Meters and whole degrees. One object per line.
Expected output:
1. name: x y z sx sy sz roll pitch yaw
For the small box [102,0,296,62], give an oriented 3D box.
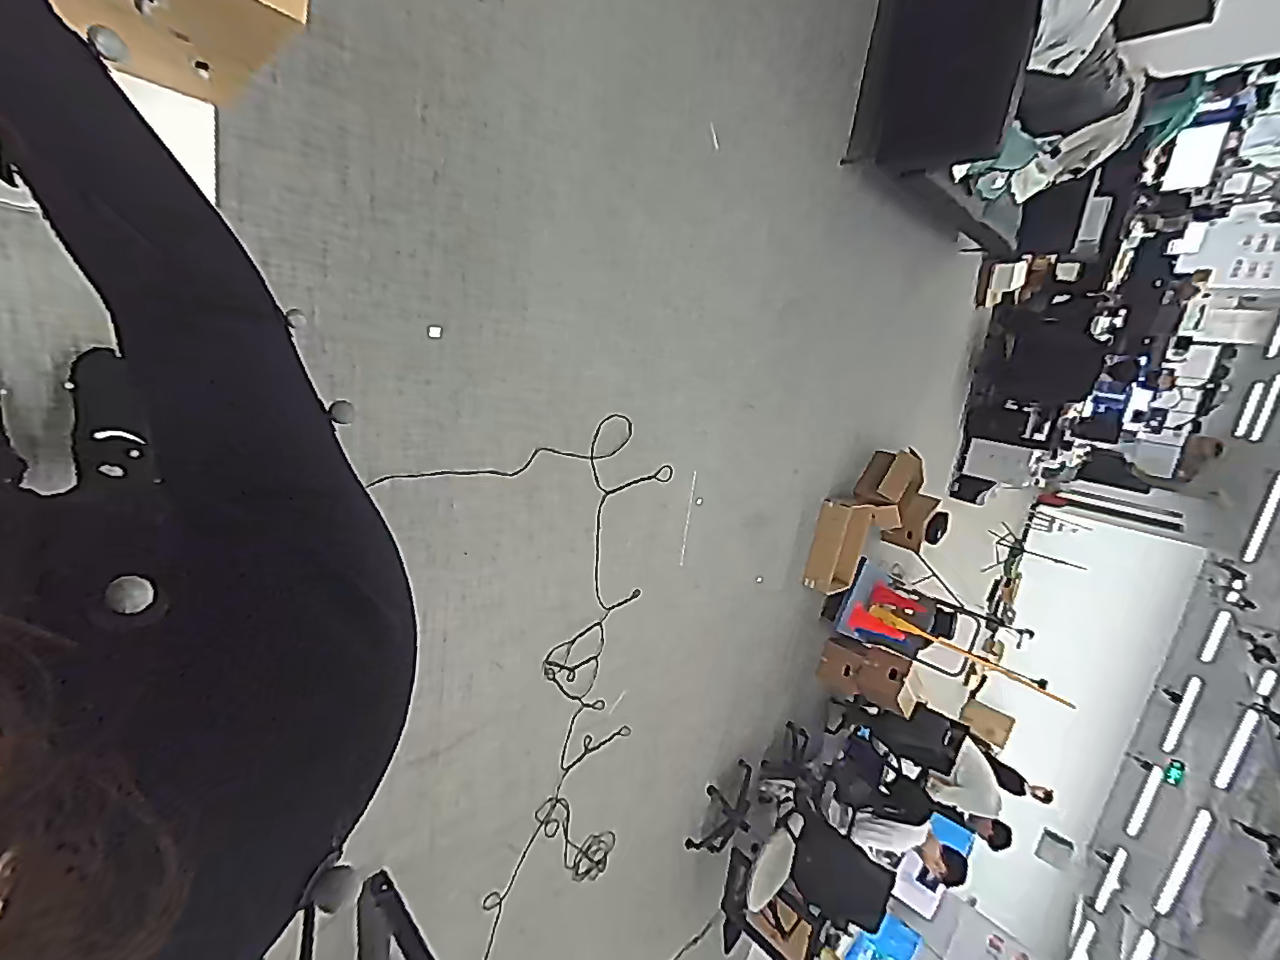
1. small box: -0.363 -0.455 0.397 0.168 0.176 0.179 -2 107 -47
